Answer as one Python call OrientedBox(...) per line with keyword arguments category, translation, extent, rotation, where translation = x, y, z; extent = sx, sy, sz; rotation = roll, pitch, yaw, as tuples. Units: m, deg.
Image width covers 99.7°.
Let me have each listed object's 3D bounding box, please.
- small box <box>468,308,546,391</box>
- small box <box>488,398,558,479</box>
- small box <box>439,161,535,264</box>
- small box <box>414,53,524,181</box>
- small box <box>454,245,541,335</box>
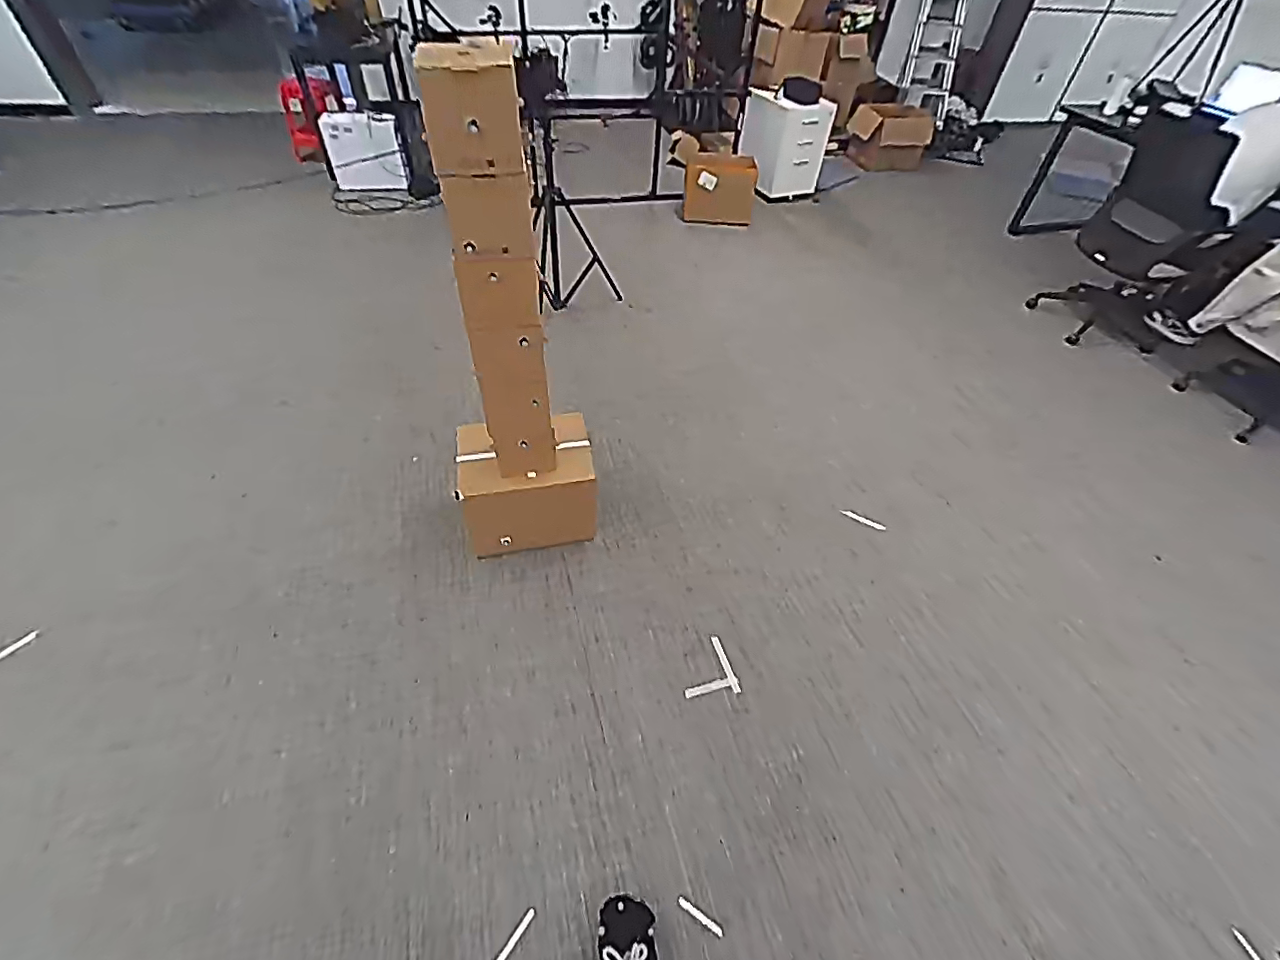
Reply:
OrientedBox(category="small box", translation=(-0.333, -0.344, 1.374), extent=(0.179, 0.176, 0.168), rotation=(-7, 48, -10))
OrientedBox(category="small box", translation=(-0.346, -0.120, 1.614), extent=(0.179, 0.176, 0.168), rotation=(-9, 50, -13))
OrientedBox(category="small box", translation=(-0.315, -0.567, 1.136), extent=(0.168, 0.176, 0.179), rotation=(-7, 48, -10))
OrientedBox(category="small box", translation=(-0.313, -0.676, 1.013), extent=(0.168, 0.176, 0.179), rotation=(-8, 50, -10))
OrientedBox(category="small box", translation=(-0.326, -0.455, 1.256), extent=(0.179, 0.176, 0.168), rotation=(-7, 49, -10))
